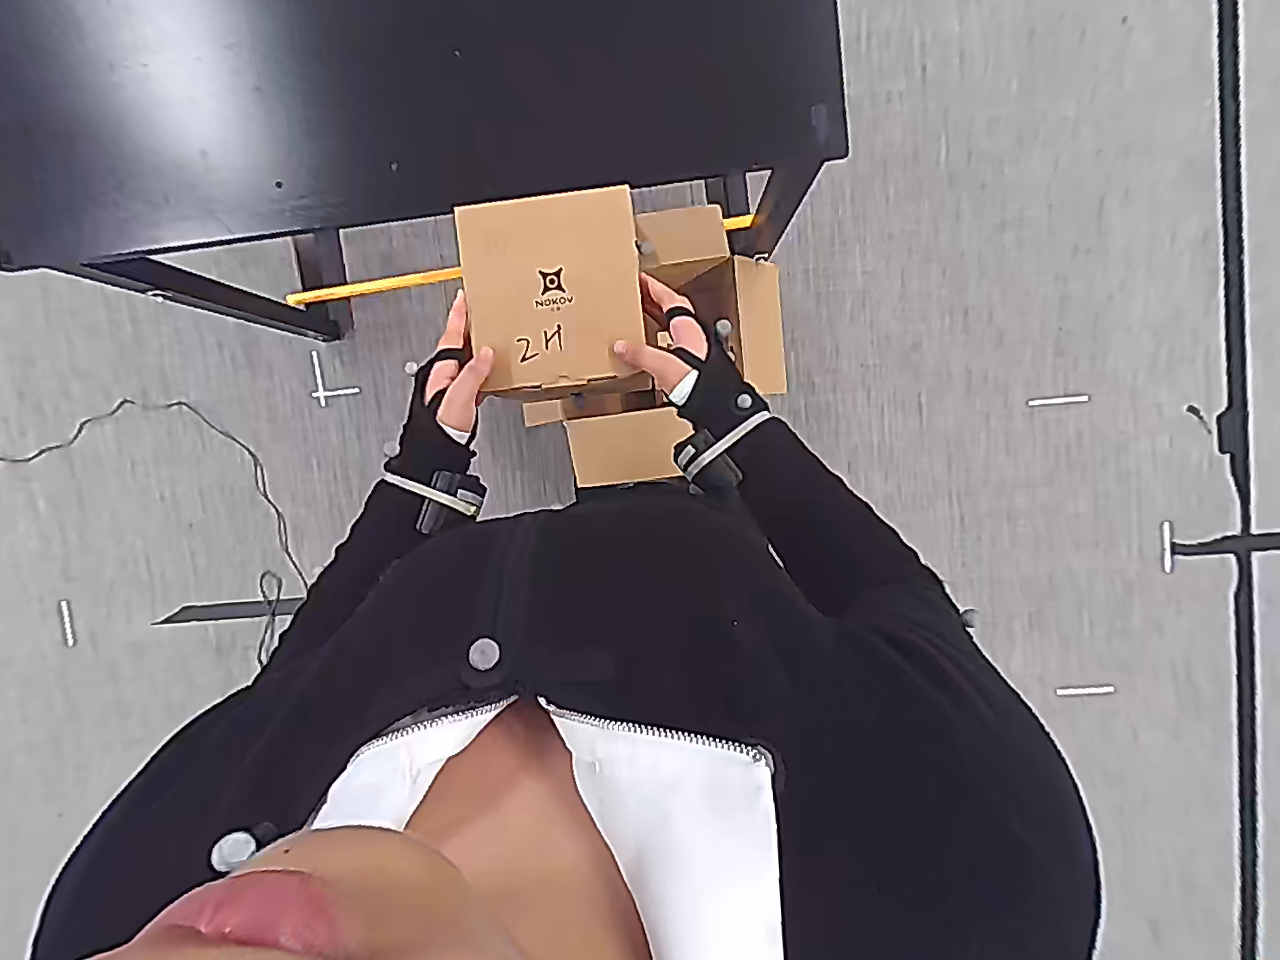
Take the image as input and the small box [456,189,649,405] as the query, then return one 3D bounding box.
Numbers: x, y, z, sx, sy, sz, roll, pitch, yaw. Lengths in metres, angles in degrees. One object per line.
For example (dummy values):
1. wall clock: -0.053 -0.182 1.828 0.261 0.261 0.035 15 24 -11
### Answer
1. small box: -0.081 -0.181 0.585 0.168 0.176 0.179 -6 95 3
